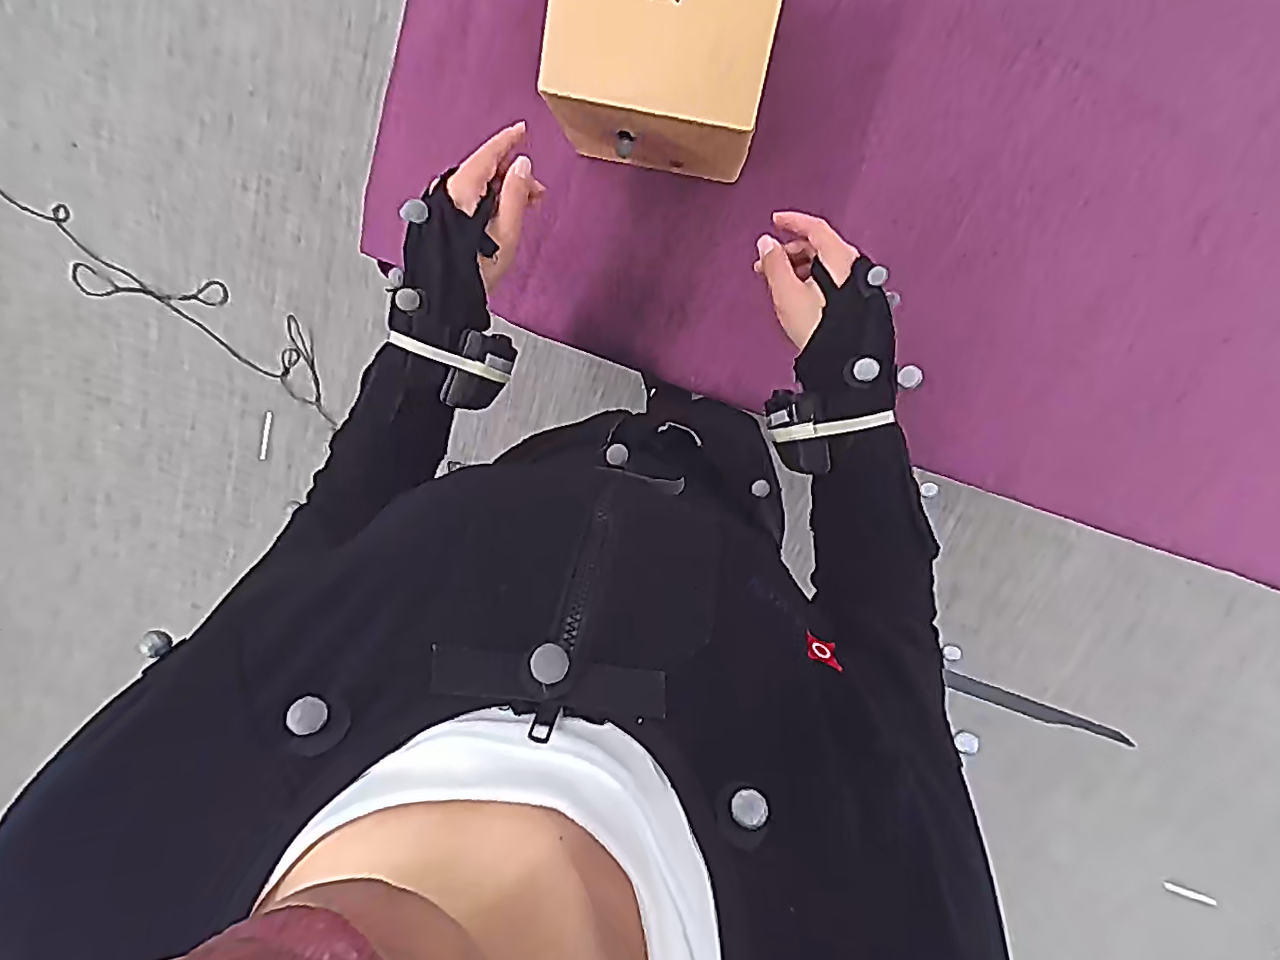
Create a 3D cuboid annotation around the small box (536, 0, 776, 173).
[{"bbox_3d":[0.024,-0.381,0.452,0.168,0.176,0.179,12,106,2],"label":"small box"}]
